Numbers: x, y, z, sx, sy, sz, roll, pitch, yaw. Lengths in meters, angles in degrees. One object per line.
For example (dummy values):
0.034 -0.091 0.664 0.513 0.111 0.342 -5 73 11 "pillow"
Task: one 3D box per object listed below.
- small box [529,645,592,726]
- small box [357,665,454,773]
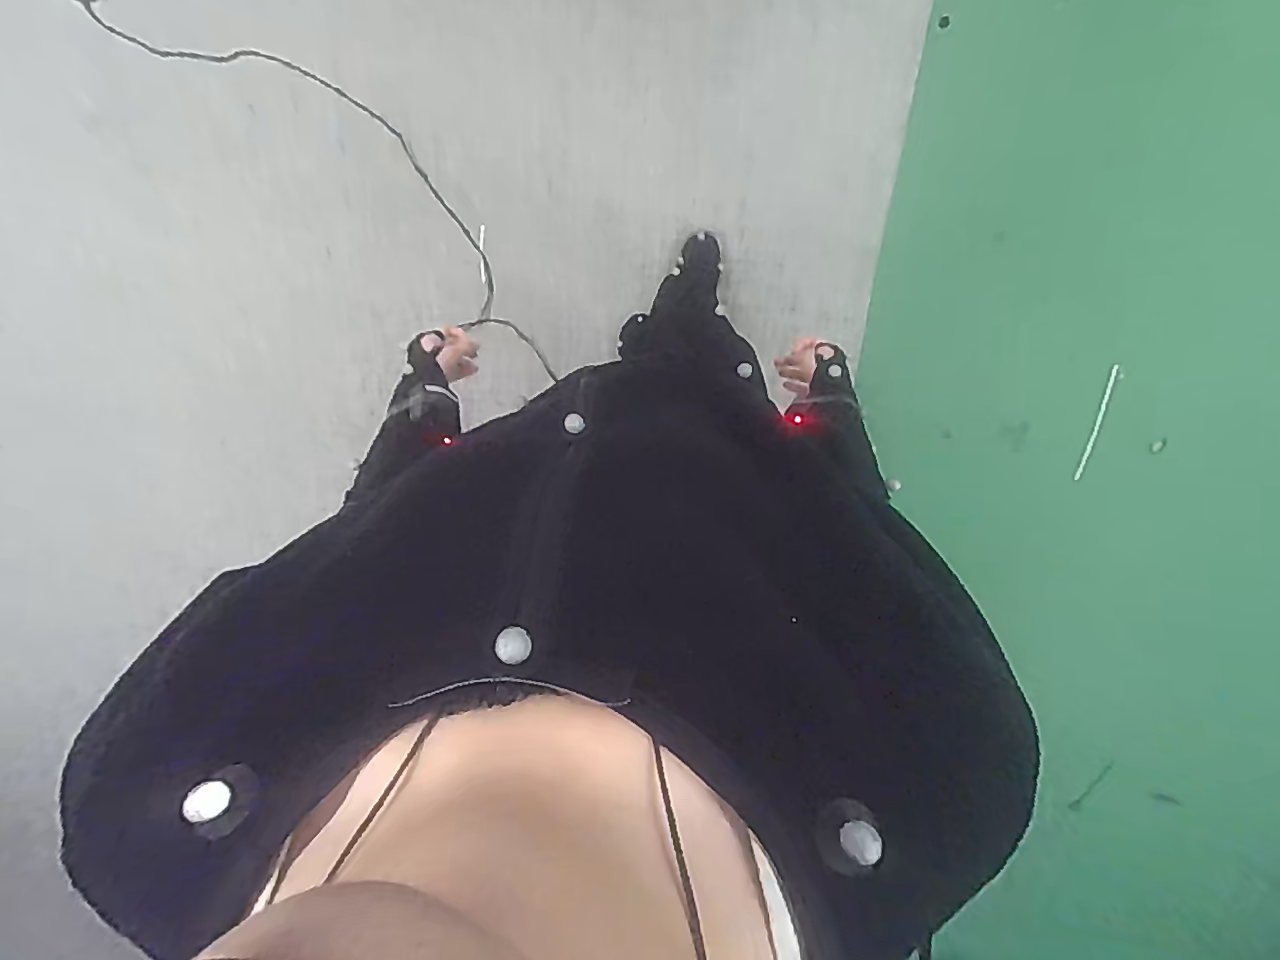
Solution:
-0.239 0.619 1.630 0.168 0.176 0.179 3 108 1 "small box"
-0.632 0.646 1.477 0.168 0.176 0.179 25 107 -5 "small box"
